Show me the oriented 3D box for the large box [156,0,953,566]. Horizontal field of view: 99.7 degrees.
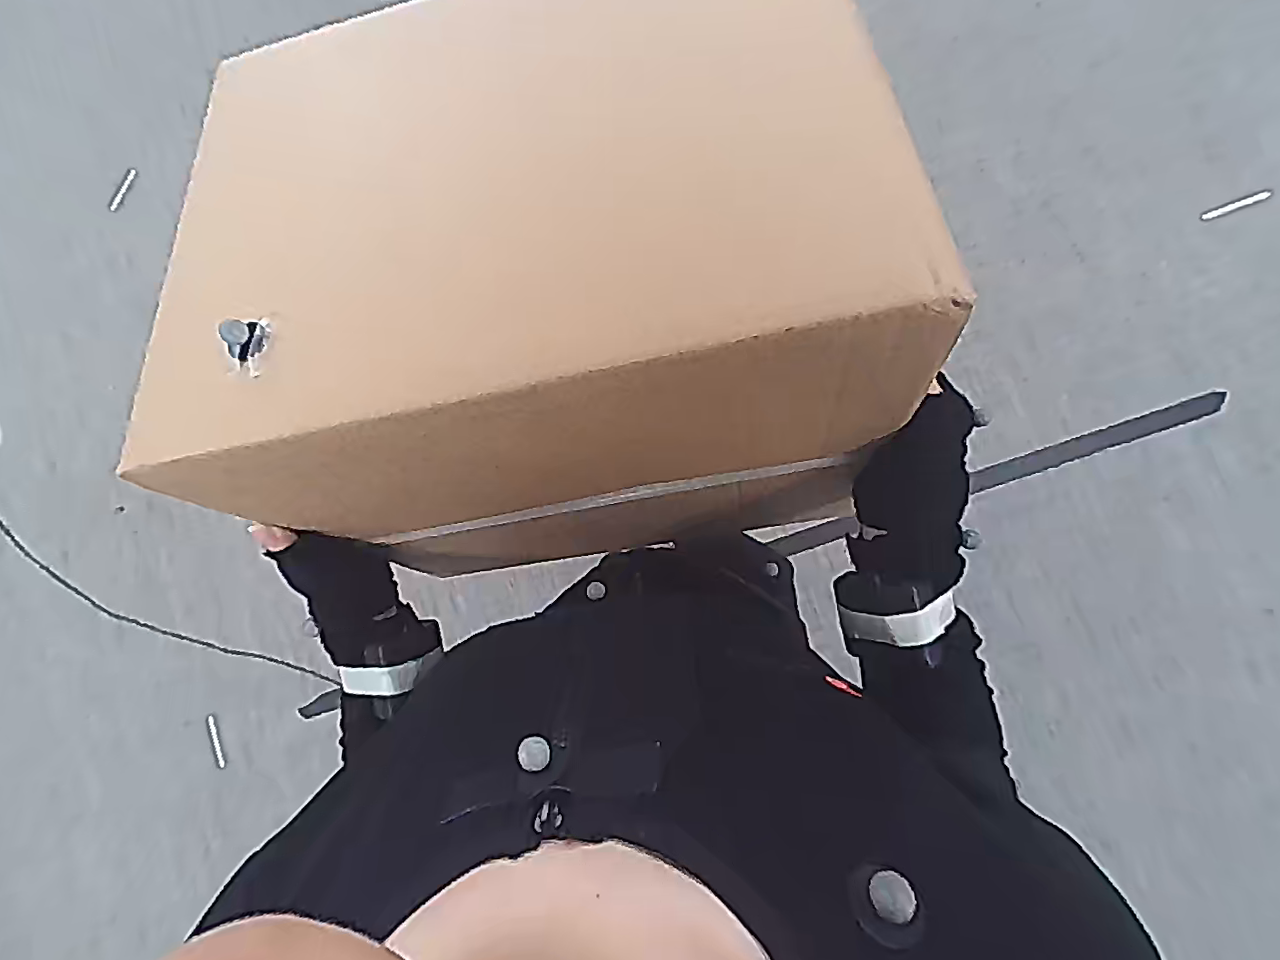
[{"bbox_3d":[-0.051,-0.136,0.441,0.408,0.320,0.320,-10,70,8],"label":"large box"}]
